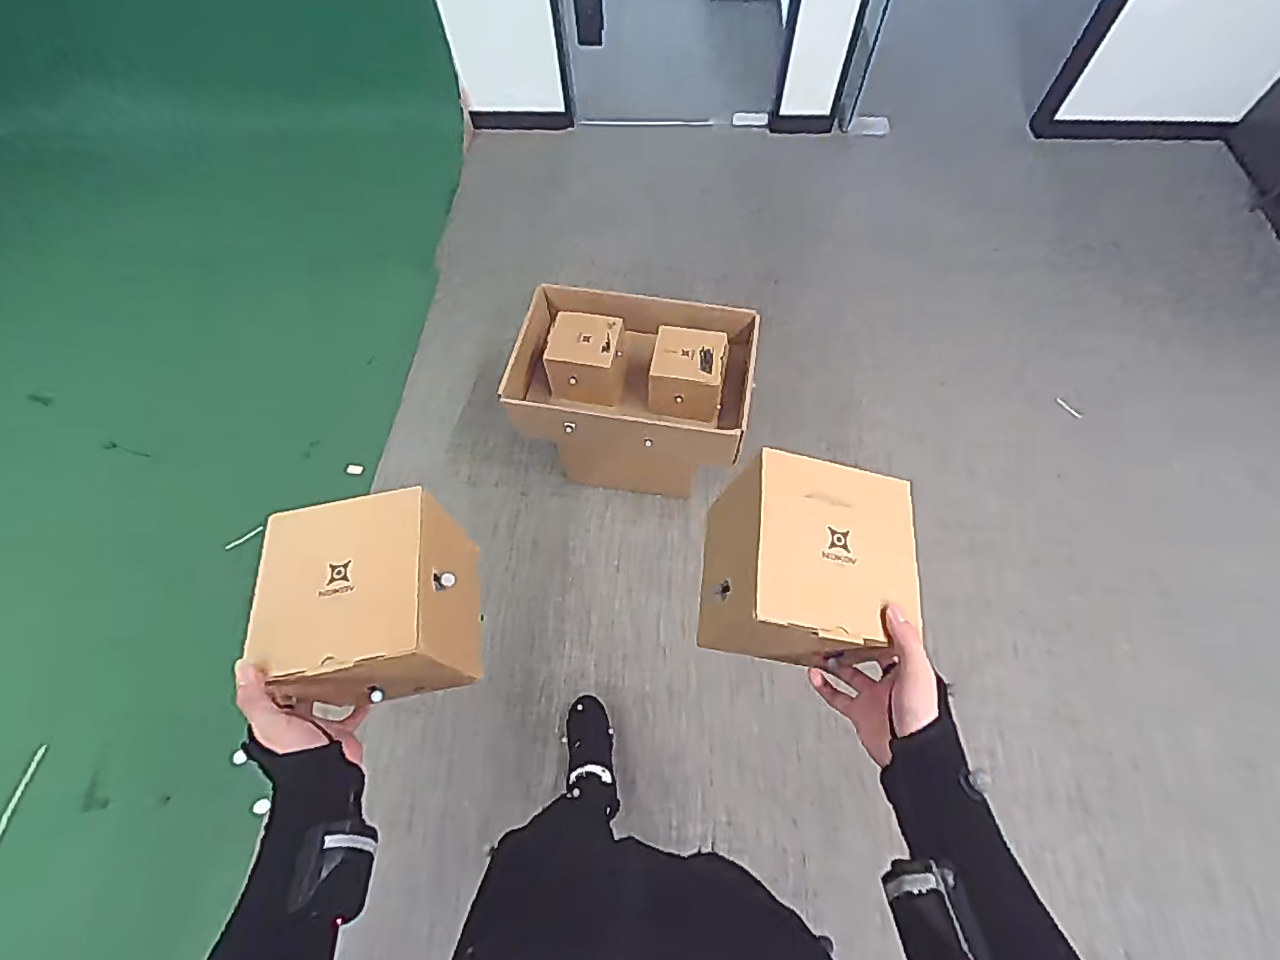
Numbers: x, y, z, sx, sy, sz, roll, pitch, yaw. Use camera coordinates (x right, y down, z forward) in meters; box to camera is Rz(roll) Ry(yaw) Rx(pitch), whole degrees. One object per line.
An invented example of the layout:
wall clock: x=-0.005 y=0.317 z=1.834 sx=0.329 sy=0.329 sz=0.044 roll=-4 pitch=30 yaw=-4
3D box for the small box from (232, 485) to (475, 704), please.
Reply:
small box: x=-0.287 y=0.130 z=0.589 sx=0.168 sy=0.176 sz=0.179 roll=-10 pitch=61 yaw=-1

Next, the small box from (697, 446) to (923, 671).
small box: x=0.168 y=0.095 z=0.574 sx=0.168 sy=0.176 sz=0.179 roll=15 pitch=62 yaw=-8

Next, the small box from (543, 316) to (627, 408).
small box: x=-0.138 y=-0.308 z=1.435 sx=0.179 sy=0.176 sz=0.168 roll=9 pitch=63 yaw=7
